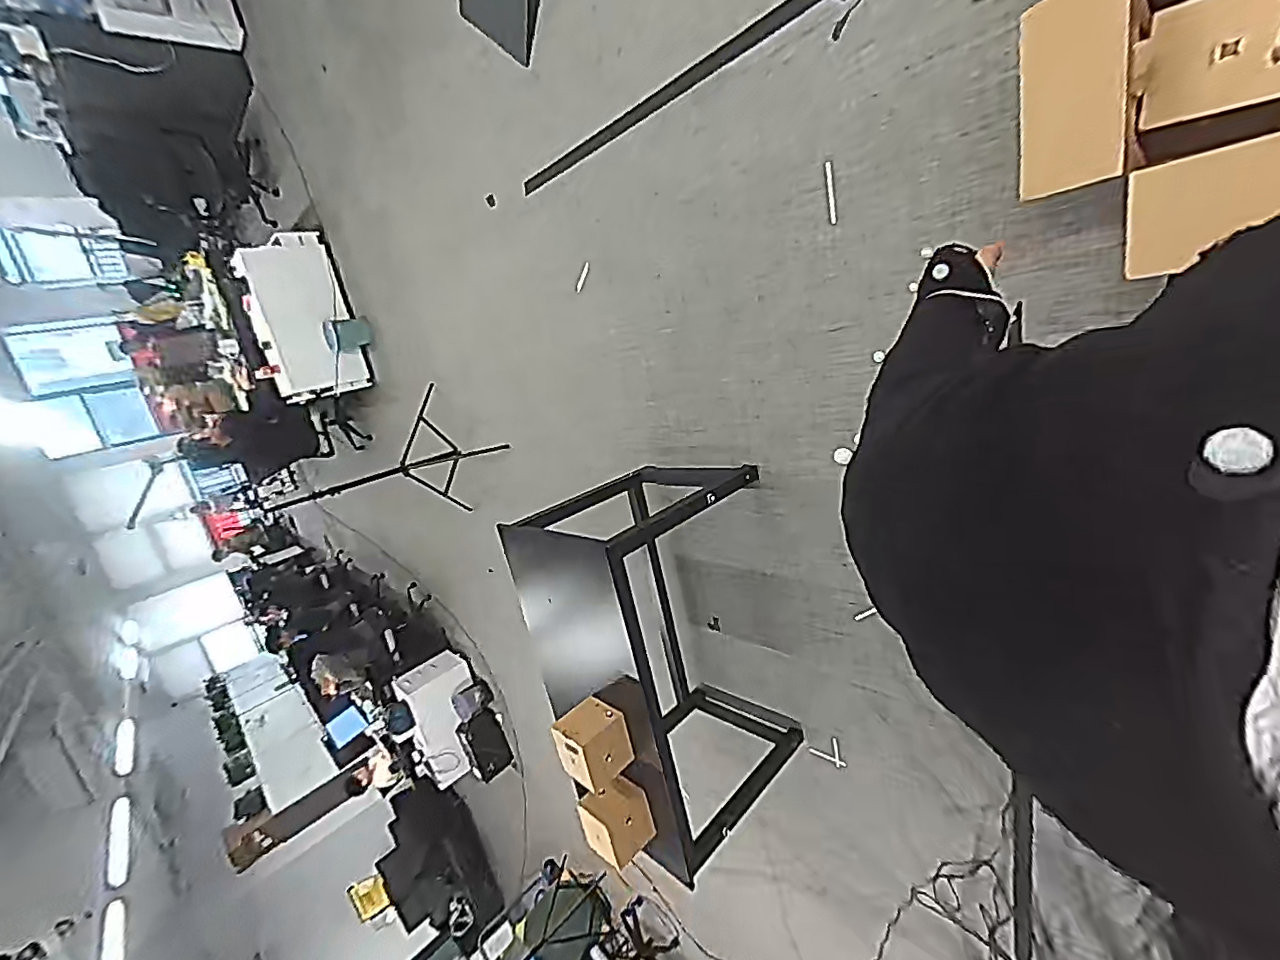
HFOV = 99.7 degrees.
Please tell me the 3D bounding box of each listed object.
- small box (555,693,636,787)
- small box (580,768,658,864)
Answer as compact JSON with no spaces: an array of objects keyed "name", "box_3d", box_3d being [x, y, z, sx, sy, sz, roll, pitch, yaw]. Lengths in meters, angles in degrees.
[{"name":"small box","box_3d":[-0.137,0.806,1.700,0.168,0.176,0.179,5,114,48]},{"name":"small box","box_3d":[-0.066,1.085,1.768,0.168,0.176,0.179,1,110,50]}]
